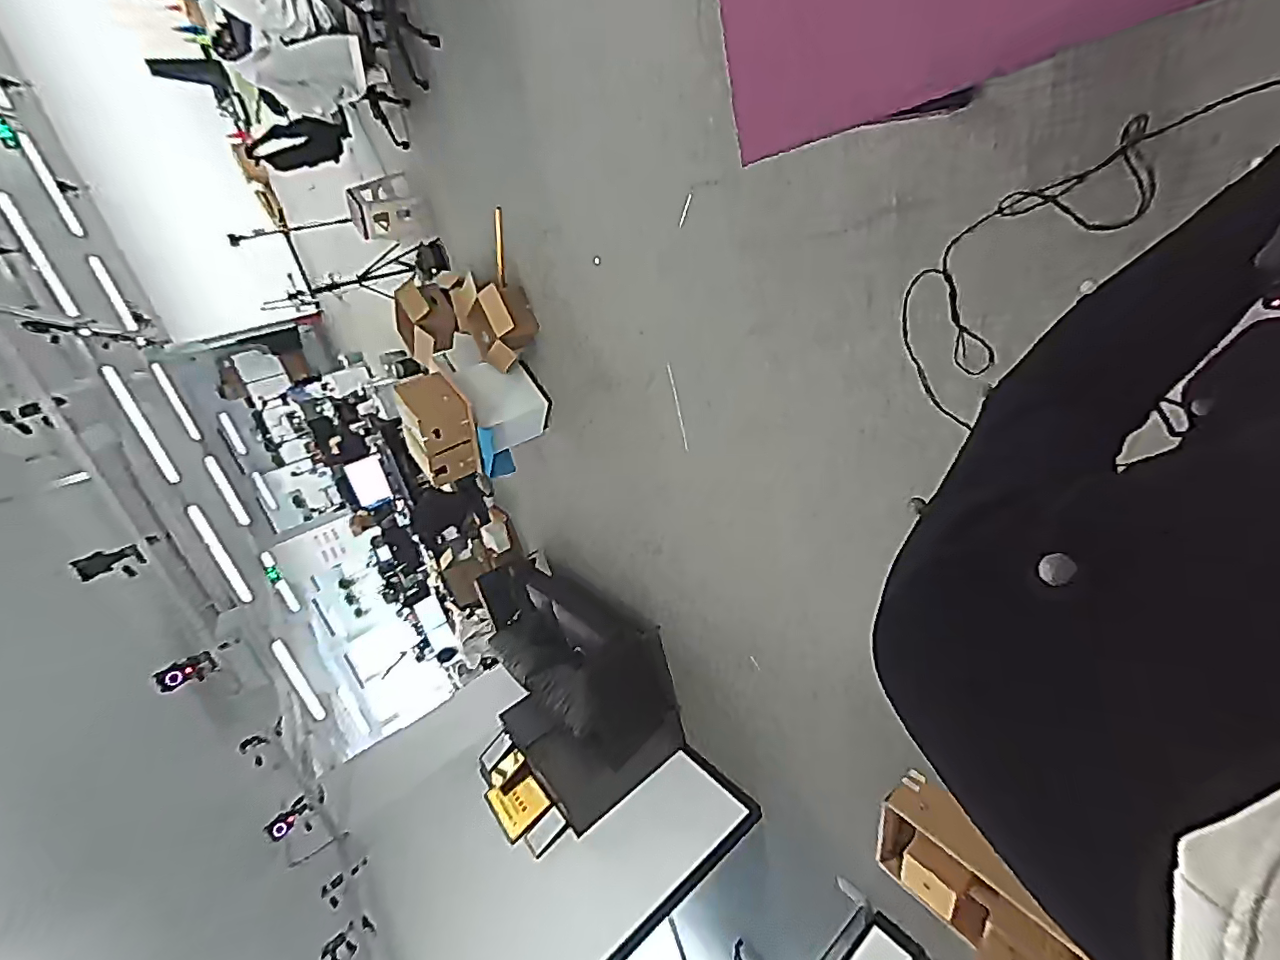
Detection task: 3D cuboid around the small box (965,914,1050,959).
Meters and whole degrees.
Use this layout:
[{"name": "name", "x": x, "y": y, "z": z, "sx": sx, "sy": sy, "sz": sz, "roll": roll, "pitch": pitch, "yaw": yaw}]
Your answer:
[{"name": "small box", "x": 1.036, "y": 1.396, "z": 1.526, "sx": 0.168, "sy": 0.176, "sz": 0.179, "roll": 21, "pitch": 131, "yaw": 48}]

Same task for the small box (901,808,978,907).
[{"name": "small box", "x": 0.997, "y": 1.251, "z": 1.800, "sx": 0.168, "sy": 0.176, "sz": 0.179, "roll": 24, "pitch": 133, "yaw": 47}]
